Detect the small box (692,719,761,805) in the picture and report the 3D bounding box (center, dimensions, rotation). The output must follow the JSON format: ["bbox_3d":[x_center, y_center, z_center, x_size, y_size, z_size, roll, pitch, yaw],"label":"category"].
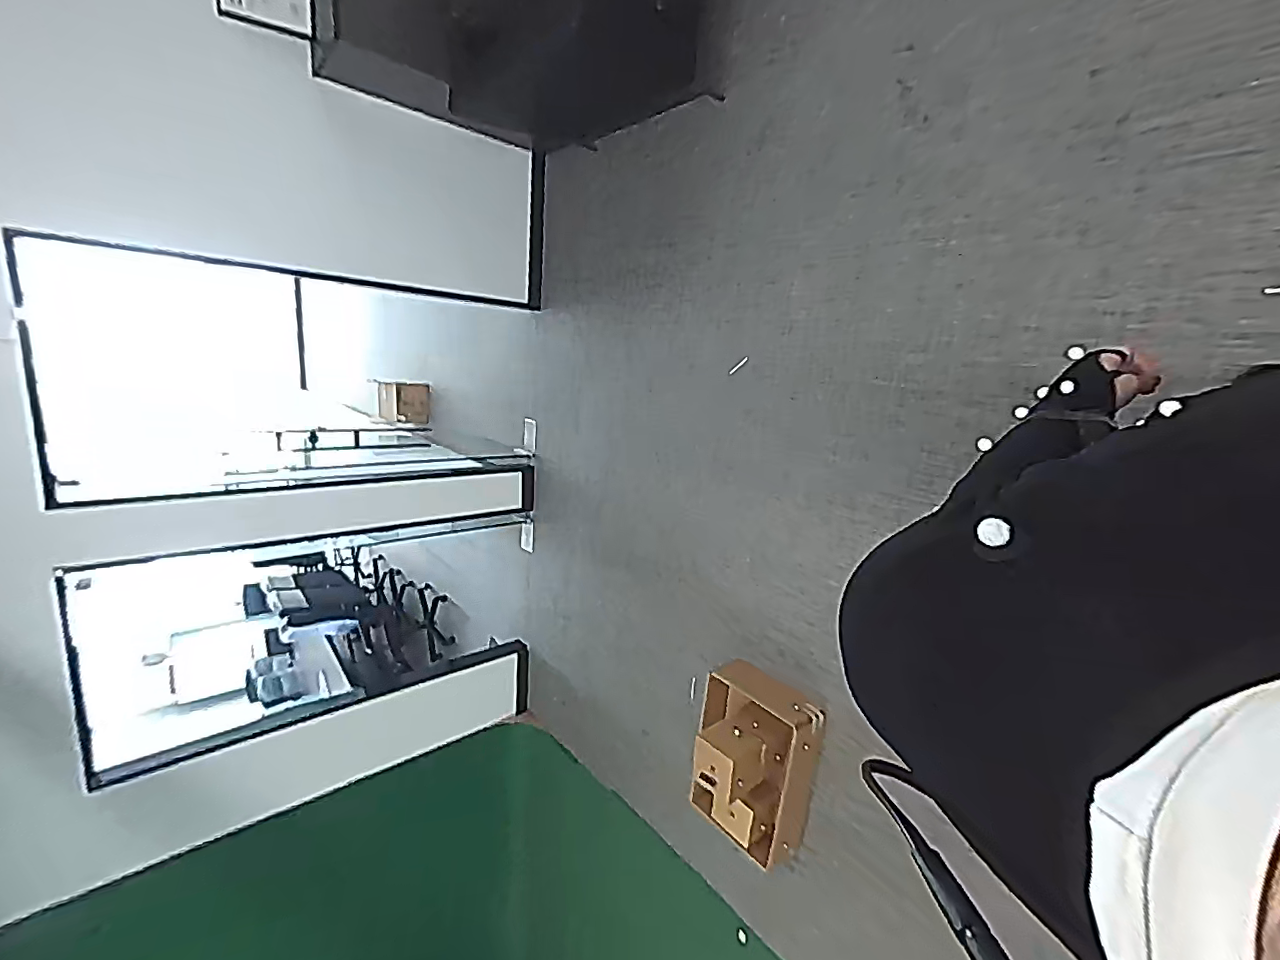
[{"bbox_3d":[0.300,0.969,1.873,0.168,0.176,0.179,16,106,46],"label":"small box"}]

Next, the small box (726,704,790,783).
[{"bbox_3d":[0.424,0.954,1.982,0.179,0.176,0.168,23,111,45],"label":"small box"}]
